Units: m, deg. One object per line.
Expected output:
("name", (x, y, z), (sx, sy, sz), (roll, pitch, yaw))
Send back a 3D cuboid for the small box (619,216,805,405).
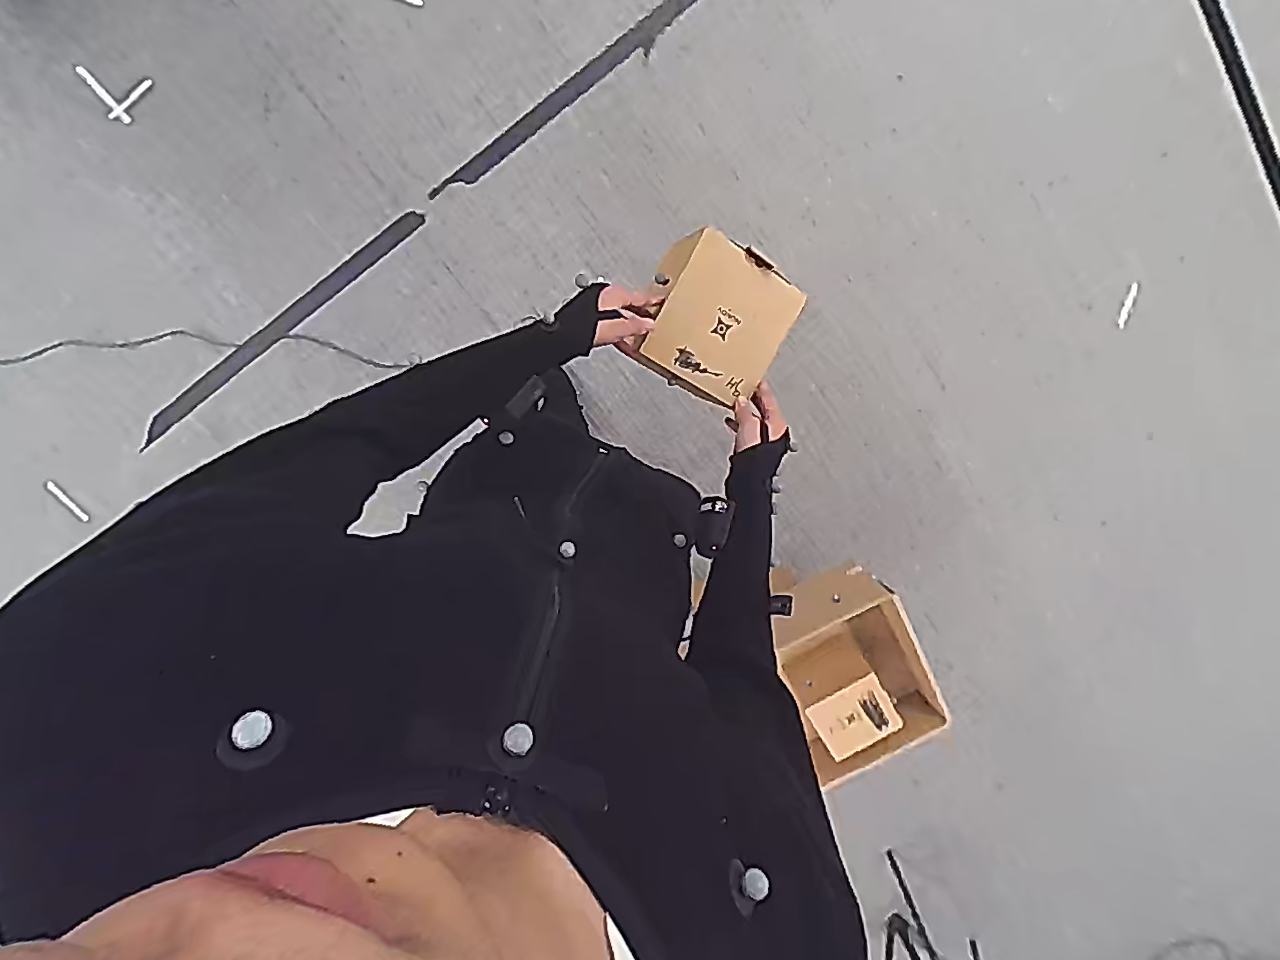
("small box", (0.087, -0.227, 0.753), (0.168, 0.176, 0.179), (27, 97, -18))
